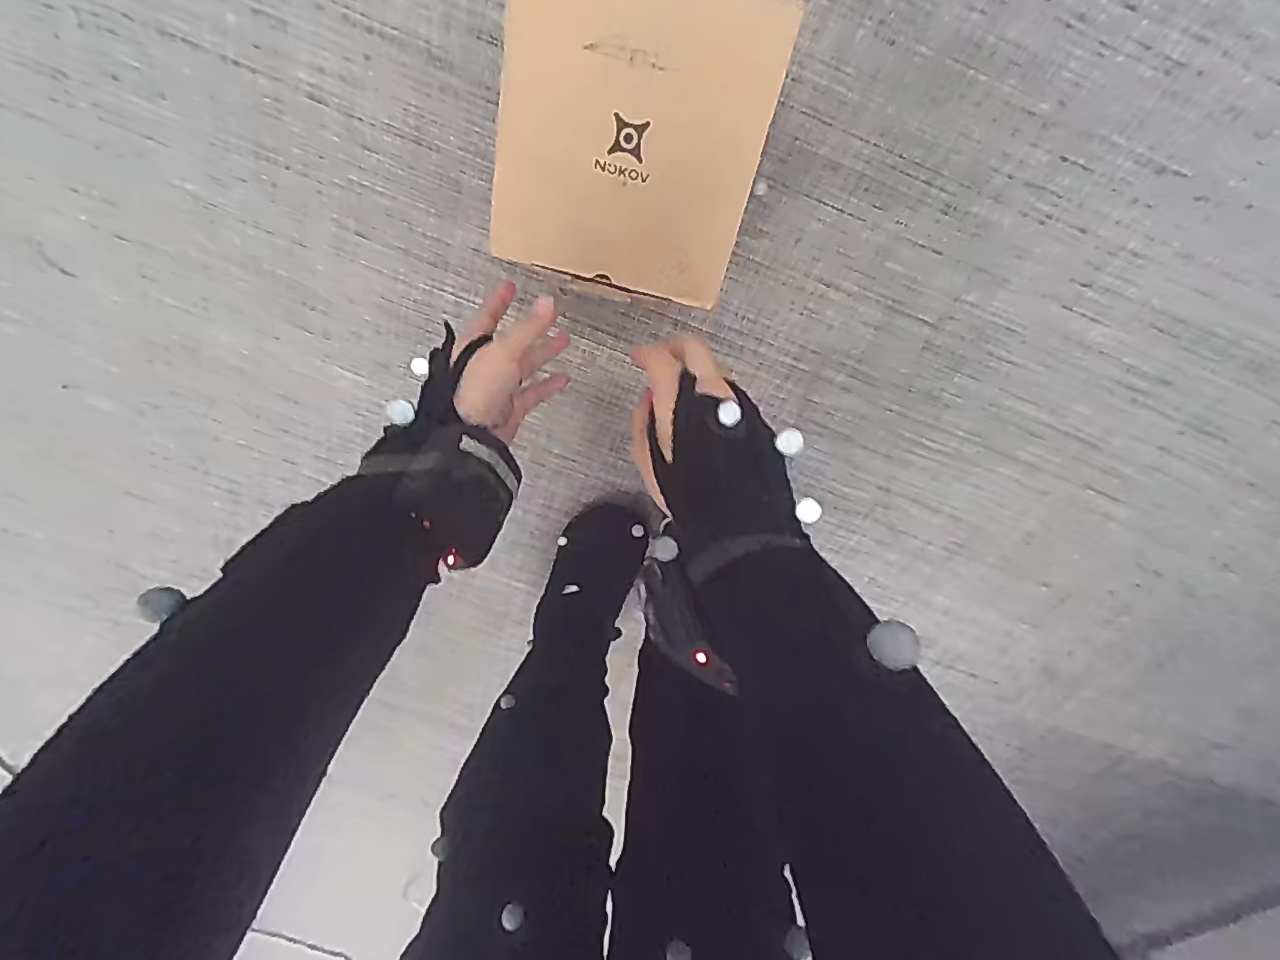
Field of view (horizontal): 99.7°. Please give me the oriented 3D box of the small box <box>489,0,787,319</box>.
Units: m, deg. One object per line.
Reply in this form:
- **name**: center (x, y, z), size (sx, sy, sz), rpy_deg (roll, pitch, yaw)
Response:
- **small box**: center (-0.004, -0.248, 0.416), size (0.168, 0.176, 0.179), rpy_deg (14, 121, -3)
